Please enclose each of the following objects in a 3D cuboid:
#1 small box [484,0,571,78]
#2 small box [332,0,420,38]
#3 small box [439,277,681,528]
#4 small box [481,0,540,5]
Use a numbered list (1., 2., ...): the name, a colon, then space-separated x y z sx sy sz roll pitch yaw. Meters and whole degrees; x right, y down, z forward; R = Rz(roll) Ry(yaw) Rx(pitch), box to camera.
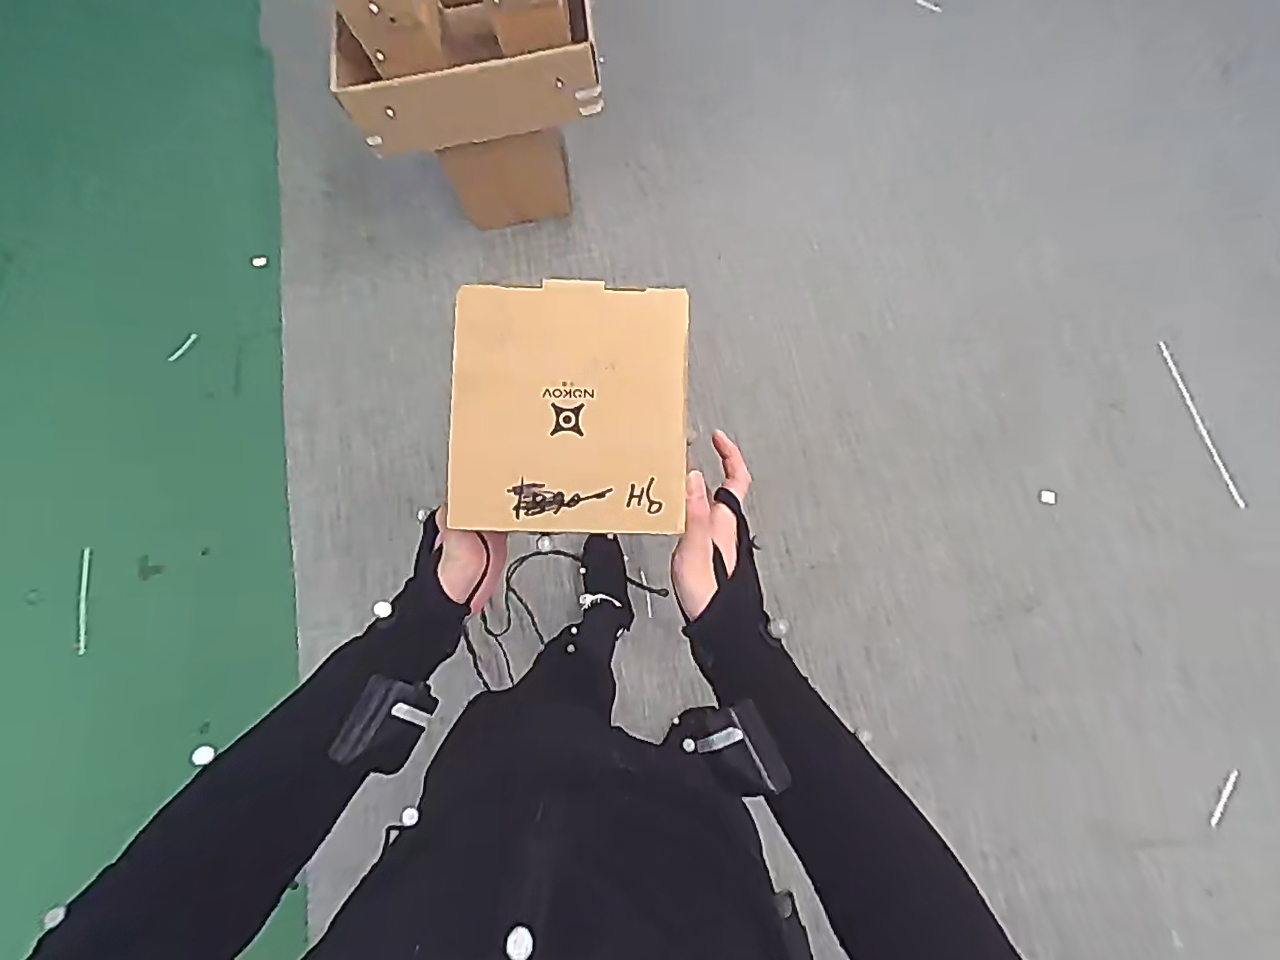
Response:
1. small box: -0.268 -1.120 1.298 0.168 0.176 0.179 -8 78 4
2. small box: -0.588 -1.106 1.158 0.168 0.176 0.179 -6 77 5
3. small box: -0.054 -0.050 0.458 0.168 0.176 0.179 1 85 2
4. small box: -0.286 -1.147 1.136 0.168 0.176 0.179 -6 77 4
